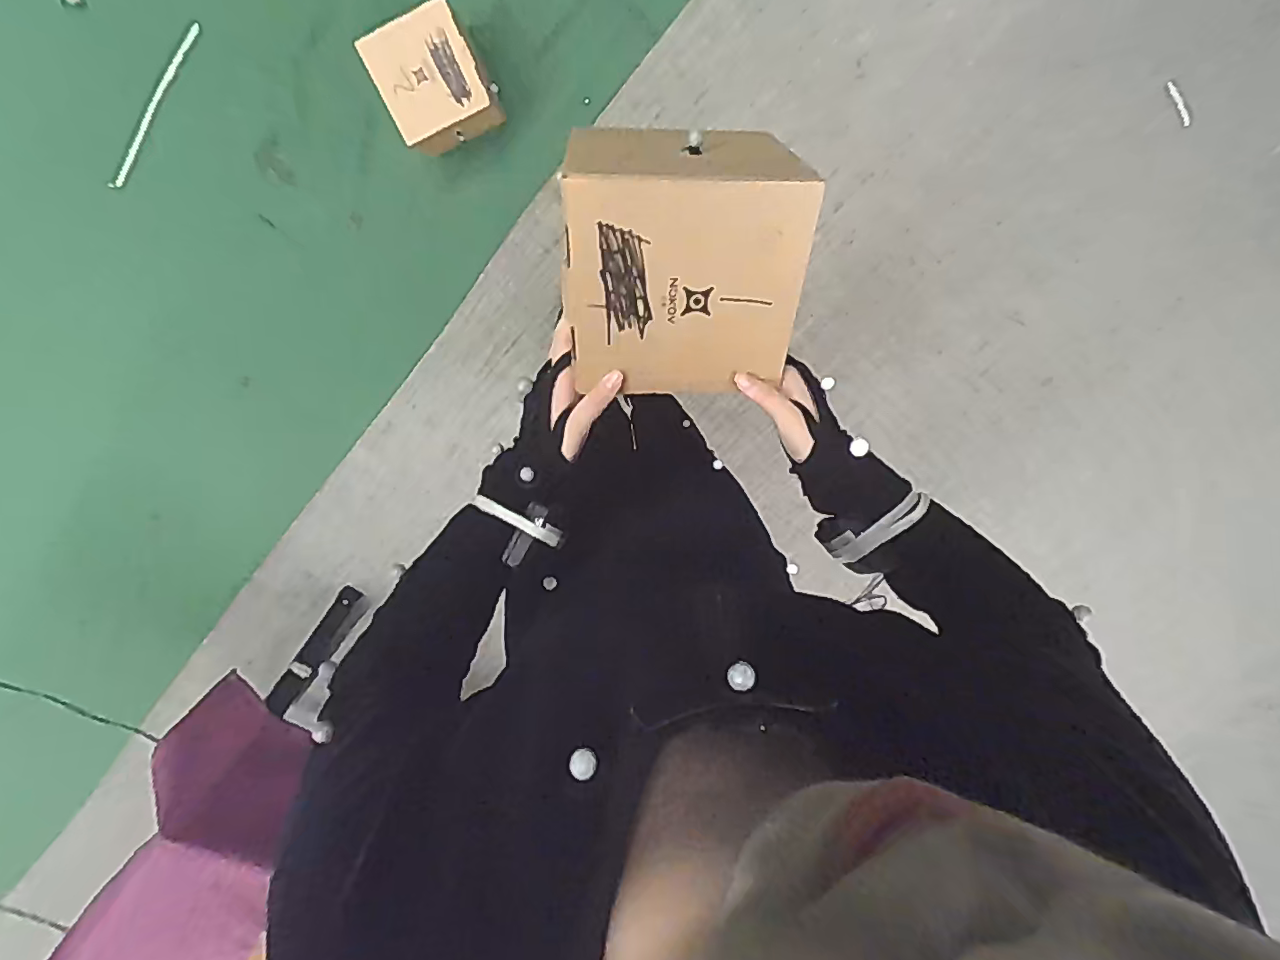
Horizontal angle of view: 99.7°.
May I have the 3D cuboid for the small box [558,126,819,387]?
[{"bbox_3d":[0.026,-0.195,0.468,0.179,0.176,0.168,-1,132,-4],"label":"small box"}]
